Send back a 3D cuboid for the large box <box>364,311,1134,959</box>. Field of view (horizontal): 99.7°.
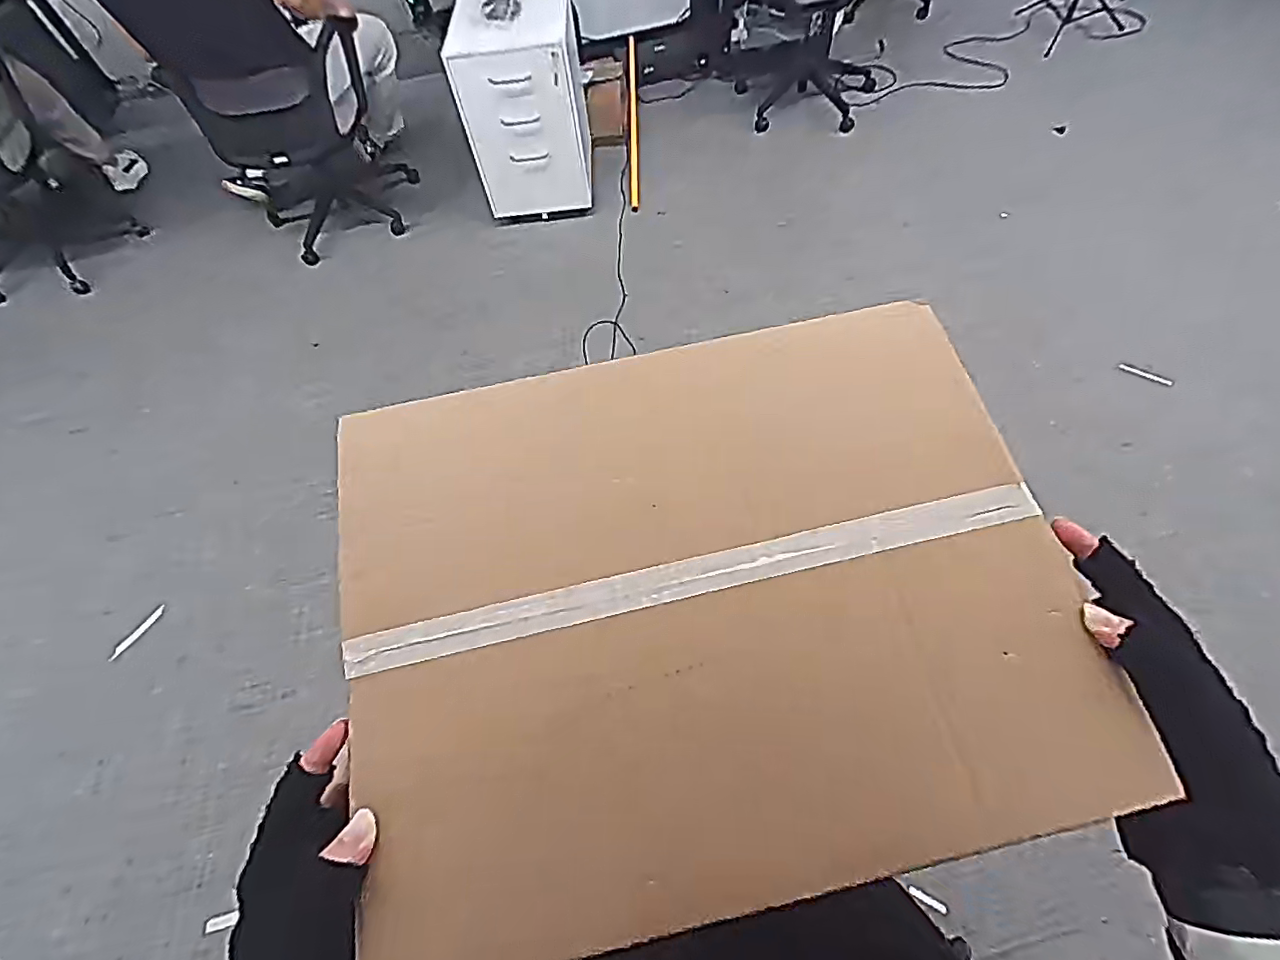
[{"bbox_3d":[0.040,0.114,0.466,0.408,0.320,0.320,-13,69,-3],"label":"large box"}]
